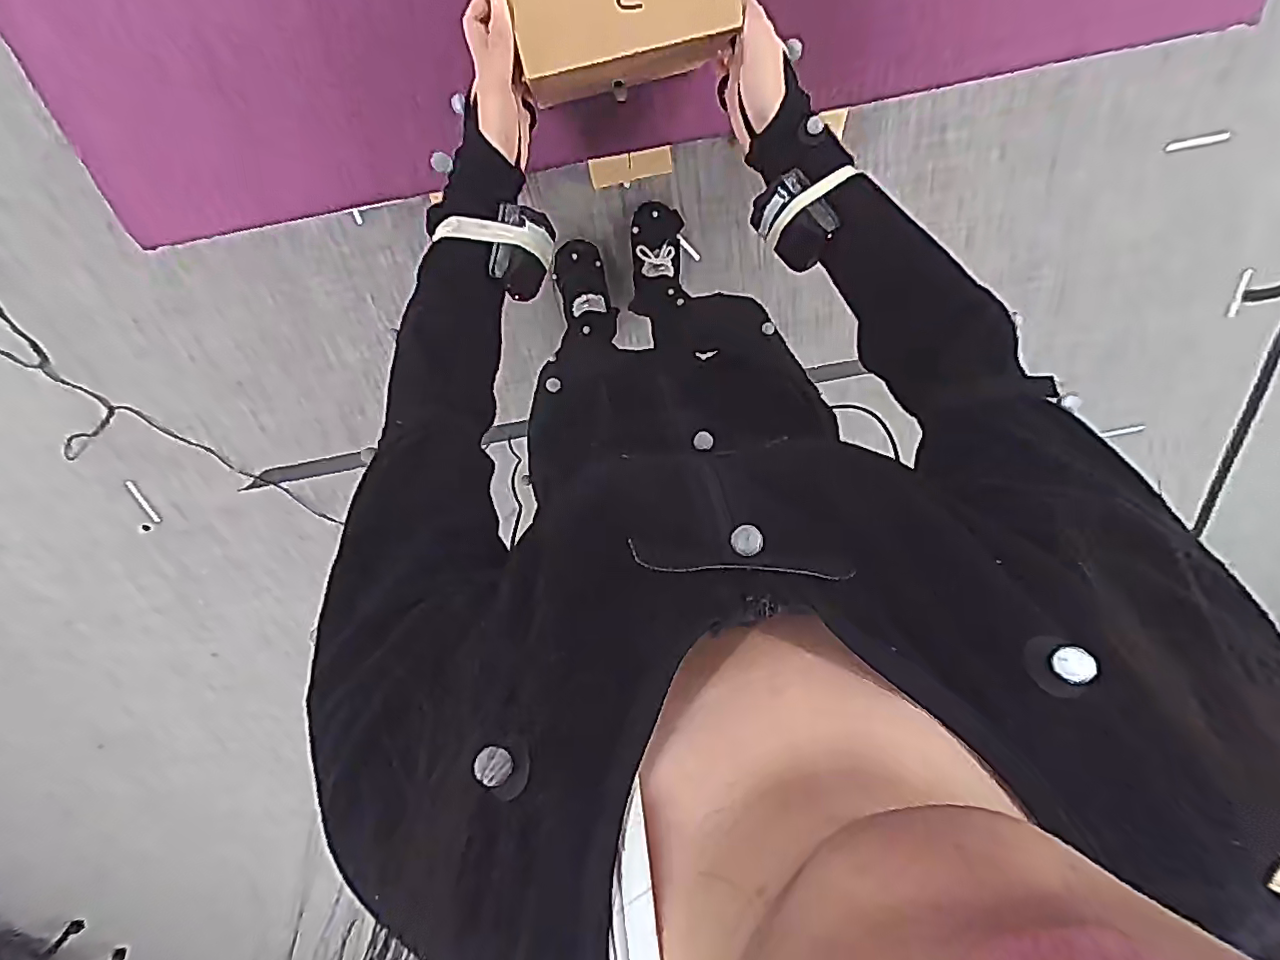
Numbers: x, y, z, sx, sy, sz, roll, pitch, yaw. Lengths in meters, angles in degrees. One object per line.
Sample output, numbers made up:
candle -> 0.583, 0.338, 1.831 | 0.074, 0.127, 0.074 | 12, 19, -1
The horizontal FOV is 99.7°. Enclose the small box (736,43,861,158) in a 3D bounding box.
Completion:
small box -> 0.315, -0.772, 1.114 | 0.179, 0.176, 0.168 | 4, 120, -7

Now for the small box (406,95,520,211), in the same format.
small box -> -0.349, -0.660, 1.105 | 0.168, 0.176, 0.179 | -10, 120, -1

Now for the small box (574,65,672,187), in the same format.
small box -> -0.038, -0.715, 1.106 | 0.168, 0.176, 0.179 | -12, 122, 1
